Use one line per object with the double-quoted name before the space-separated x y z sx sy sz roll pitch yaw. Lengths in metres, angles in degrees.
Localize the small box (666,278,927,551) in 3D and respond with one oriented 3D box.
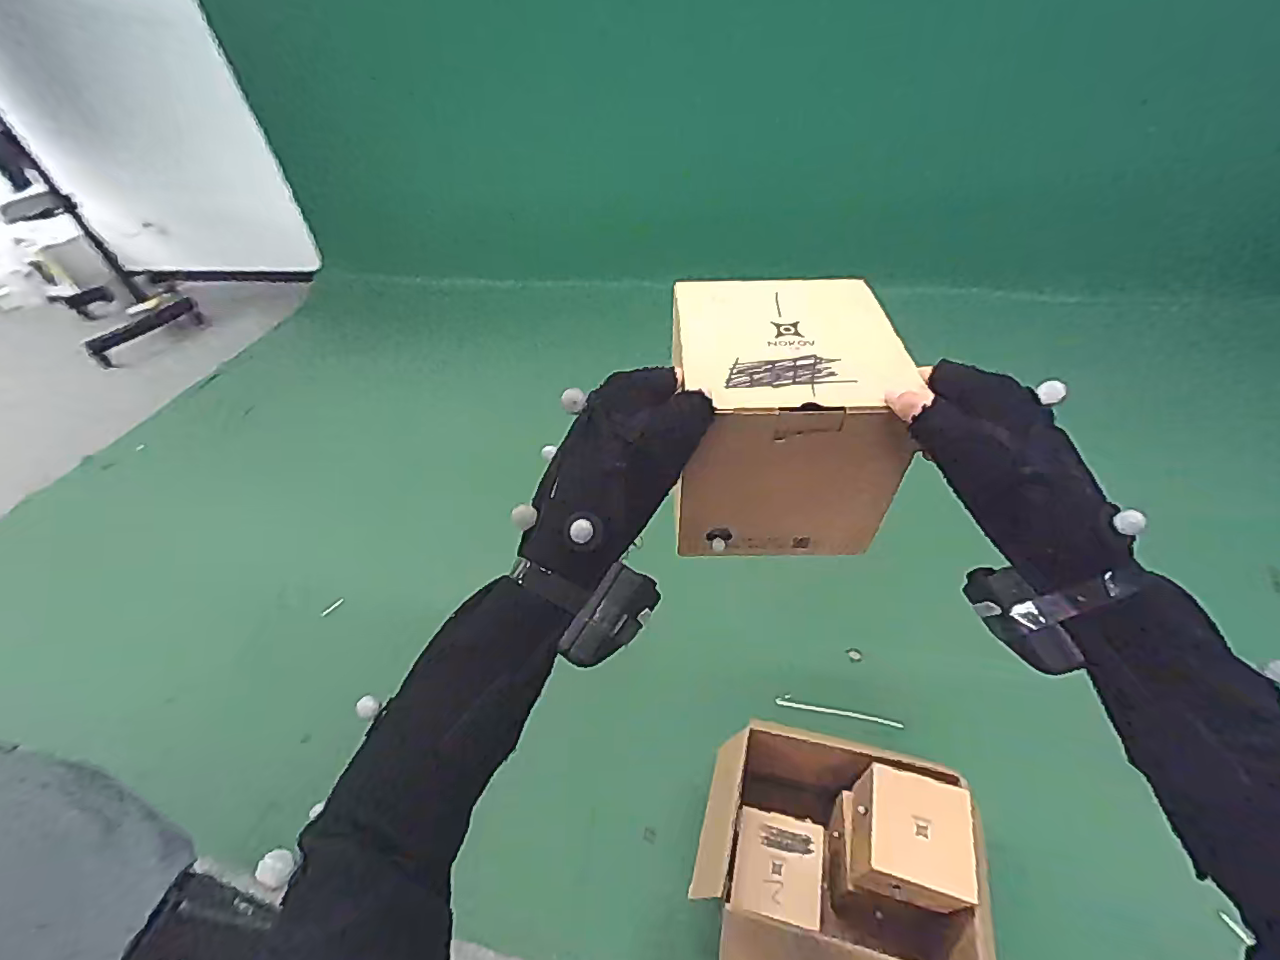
"small box" 0.107 -0.052 0.463 0.168 0.176 0.179 -1 46 0
